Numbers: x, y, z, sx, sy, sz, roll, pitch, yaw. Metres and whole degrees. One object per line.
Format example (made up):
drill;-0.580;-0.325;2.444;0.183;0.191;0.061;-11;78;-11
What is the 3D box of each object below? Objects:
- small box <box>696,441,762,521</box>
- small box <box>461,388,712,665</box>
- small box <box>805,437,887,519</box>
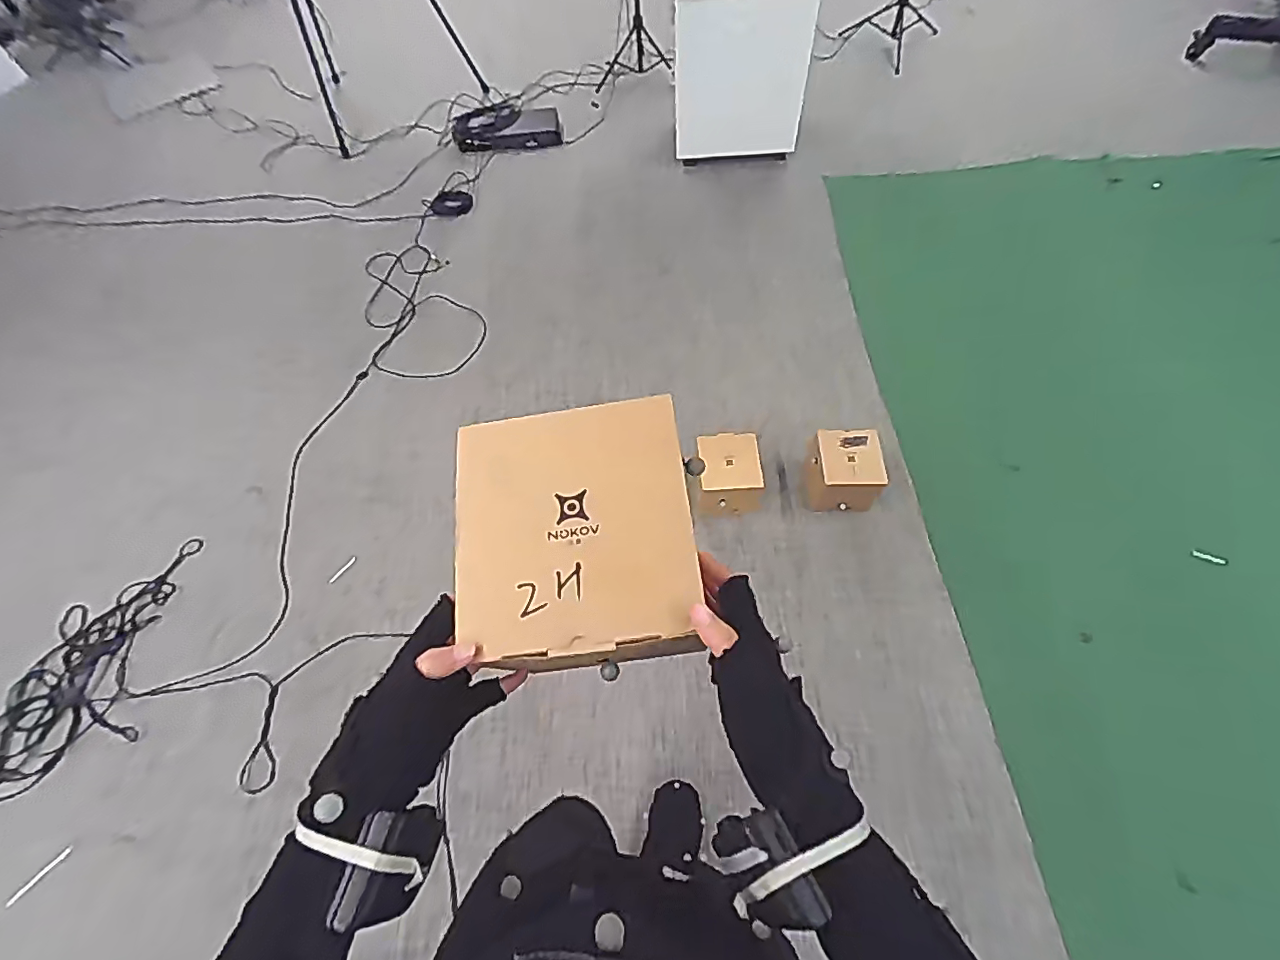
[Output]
small box;0.248;0.009;1.545;0.168;0.176;0.179;-3;59;2
small box;-0.035;0.050;0.453;0.168;0.176;0.179;-8;67;4
small box;0.574;-0.004;1.530;0.168;0.176;0.179;0;61;4
